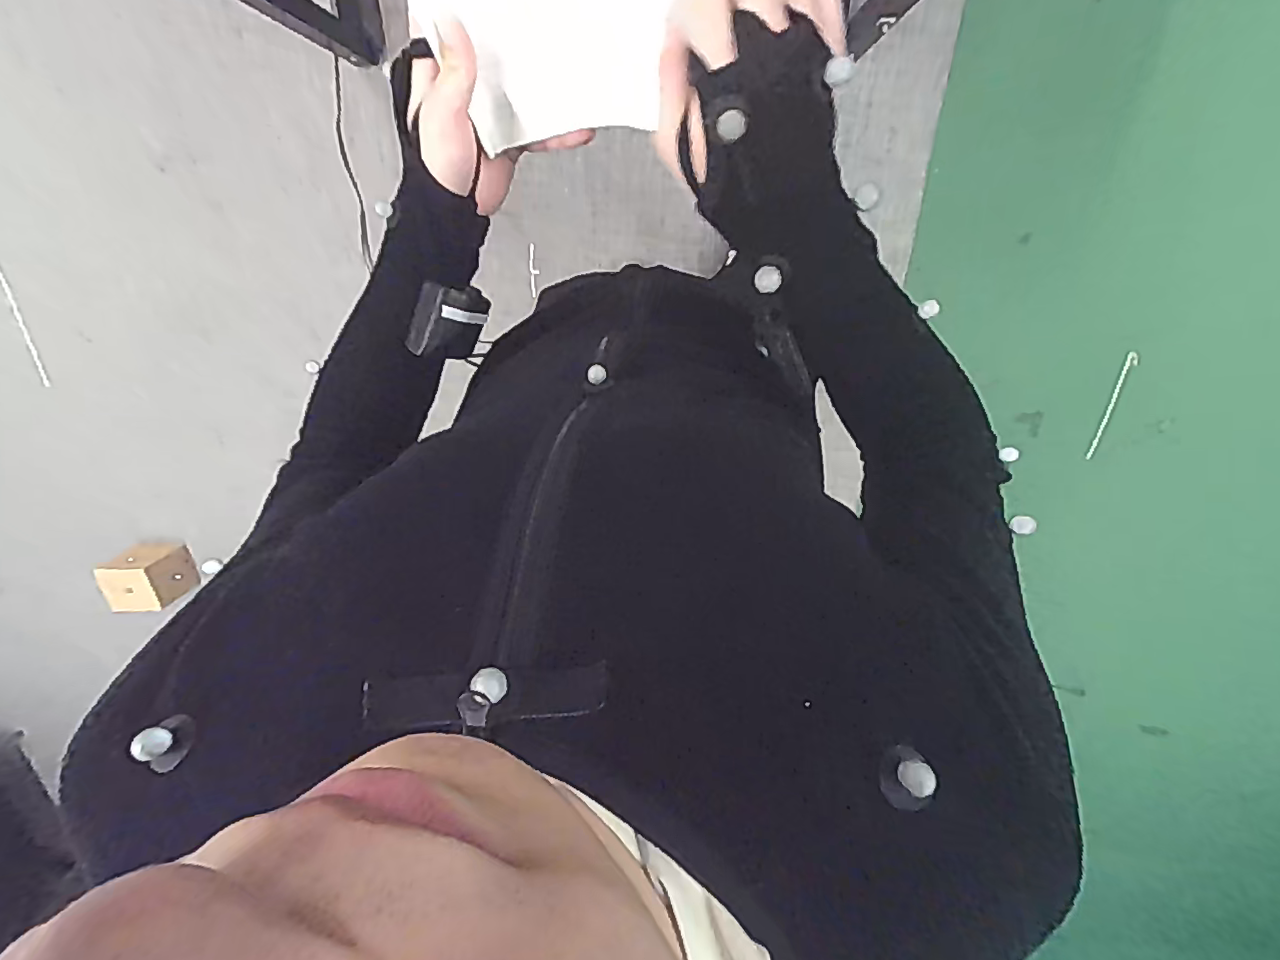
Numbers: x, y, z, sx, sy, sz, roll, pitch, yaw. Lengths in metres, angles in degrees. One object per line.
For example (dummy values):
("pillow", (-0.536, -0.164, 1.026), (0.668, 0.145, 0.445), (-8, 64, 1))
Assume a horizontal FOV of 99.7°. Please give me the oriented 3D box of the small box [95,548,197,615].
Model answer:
("small box", (-1.657, 0.340, 1.831), (0.179, 0.176, 0.168), (-1, 113, 3))
